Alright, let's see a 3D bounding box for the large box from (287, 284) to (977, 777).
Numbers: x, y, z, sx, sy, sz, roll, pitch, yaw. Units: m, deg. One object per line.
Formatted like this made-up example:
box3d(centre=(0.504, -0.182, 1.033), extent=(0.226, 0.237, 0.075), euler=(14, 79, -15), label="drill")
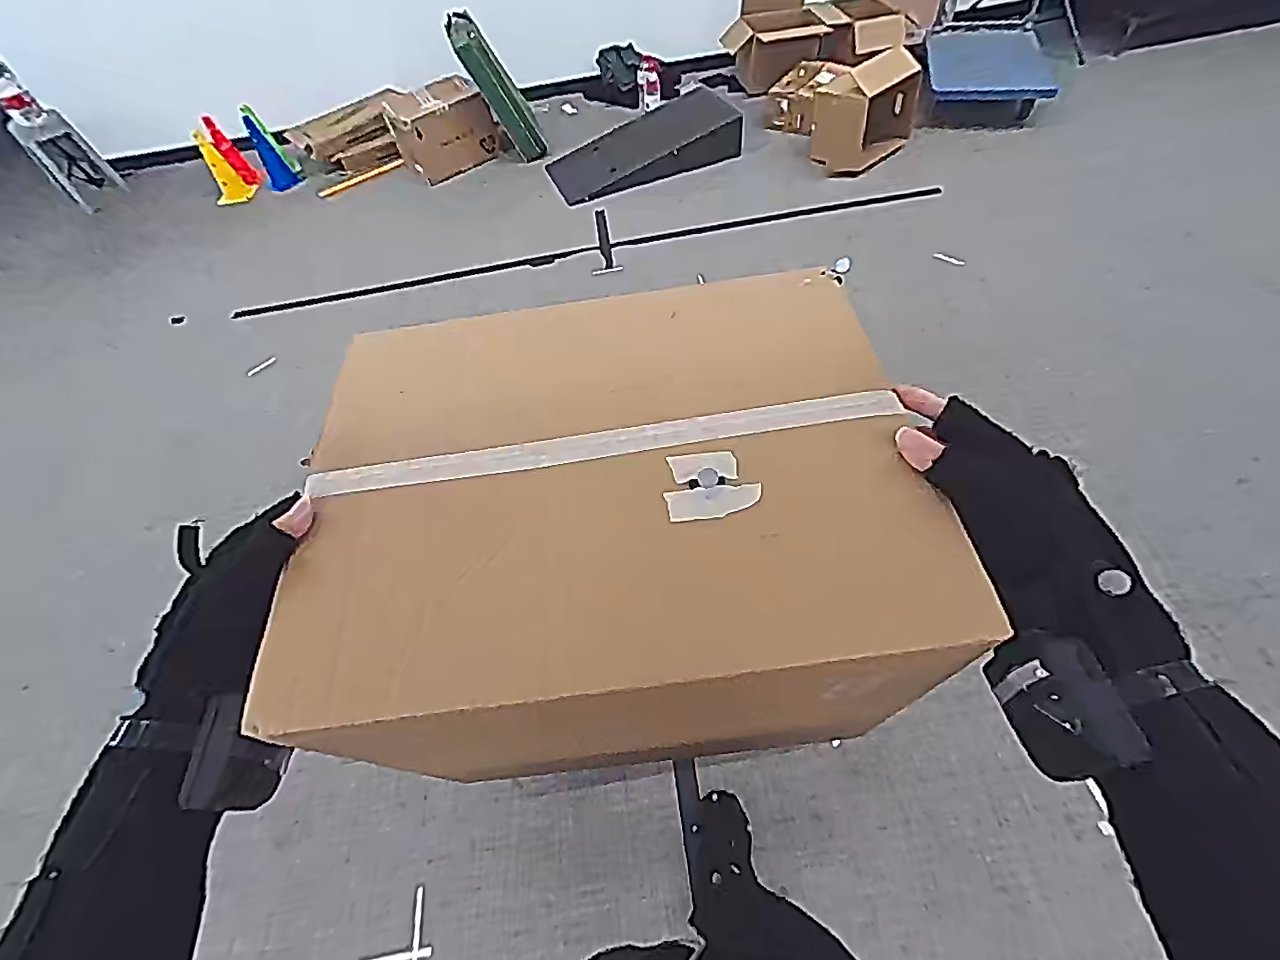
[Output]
box3d(centre=(-0.010, 0.066, 0.508), extent=(0.408, 0.320, 0.320), euler=(-8, 57, 1), label="large box")
